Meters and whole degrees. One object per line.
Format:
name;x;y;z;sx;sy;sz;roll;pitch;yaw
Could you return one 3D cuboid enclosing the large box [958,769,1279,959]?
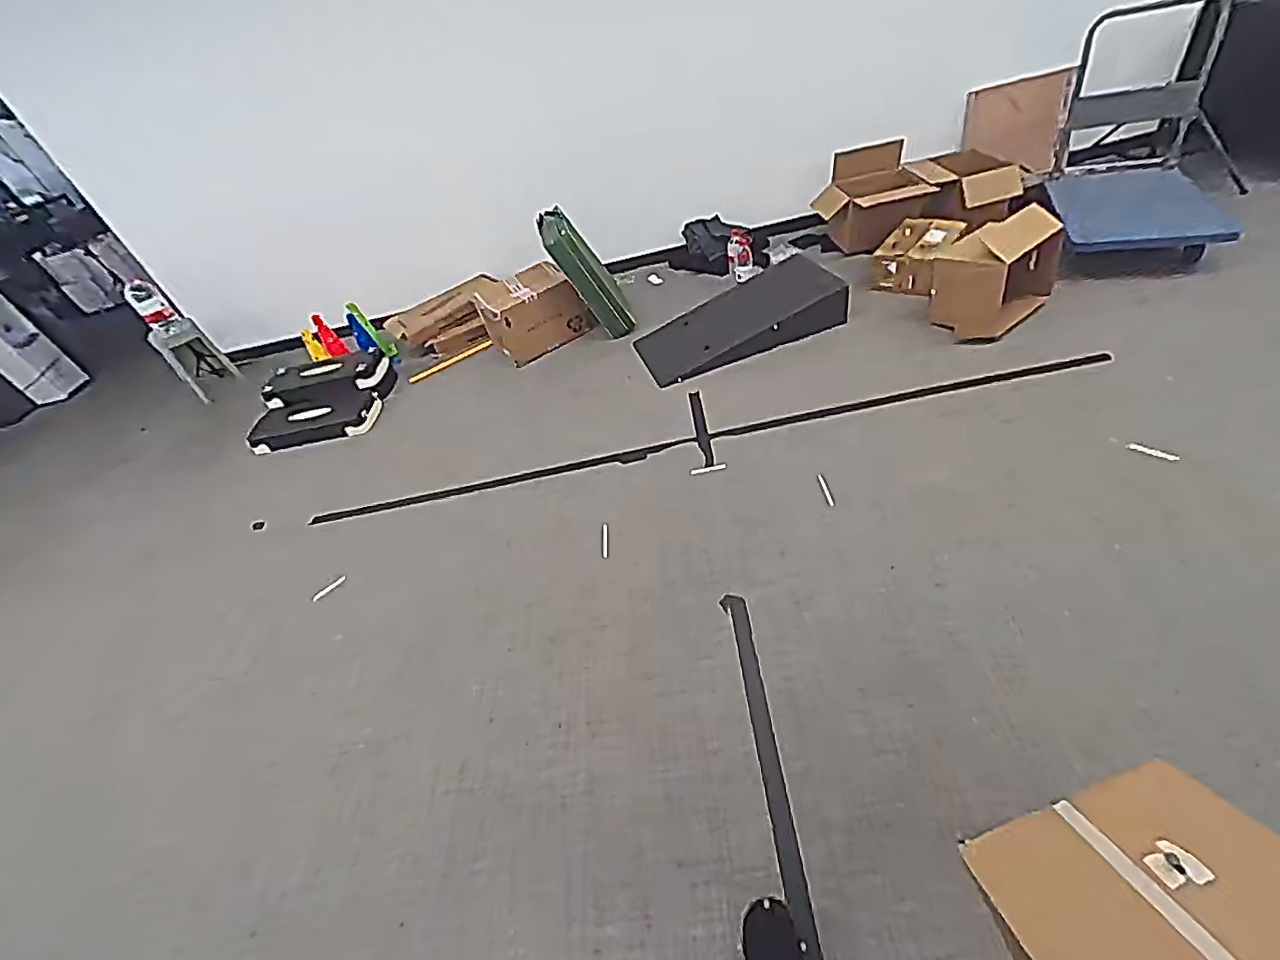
large box;0.659;0.625;0.591;0.320;0.320;0.408;-26;3;5
